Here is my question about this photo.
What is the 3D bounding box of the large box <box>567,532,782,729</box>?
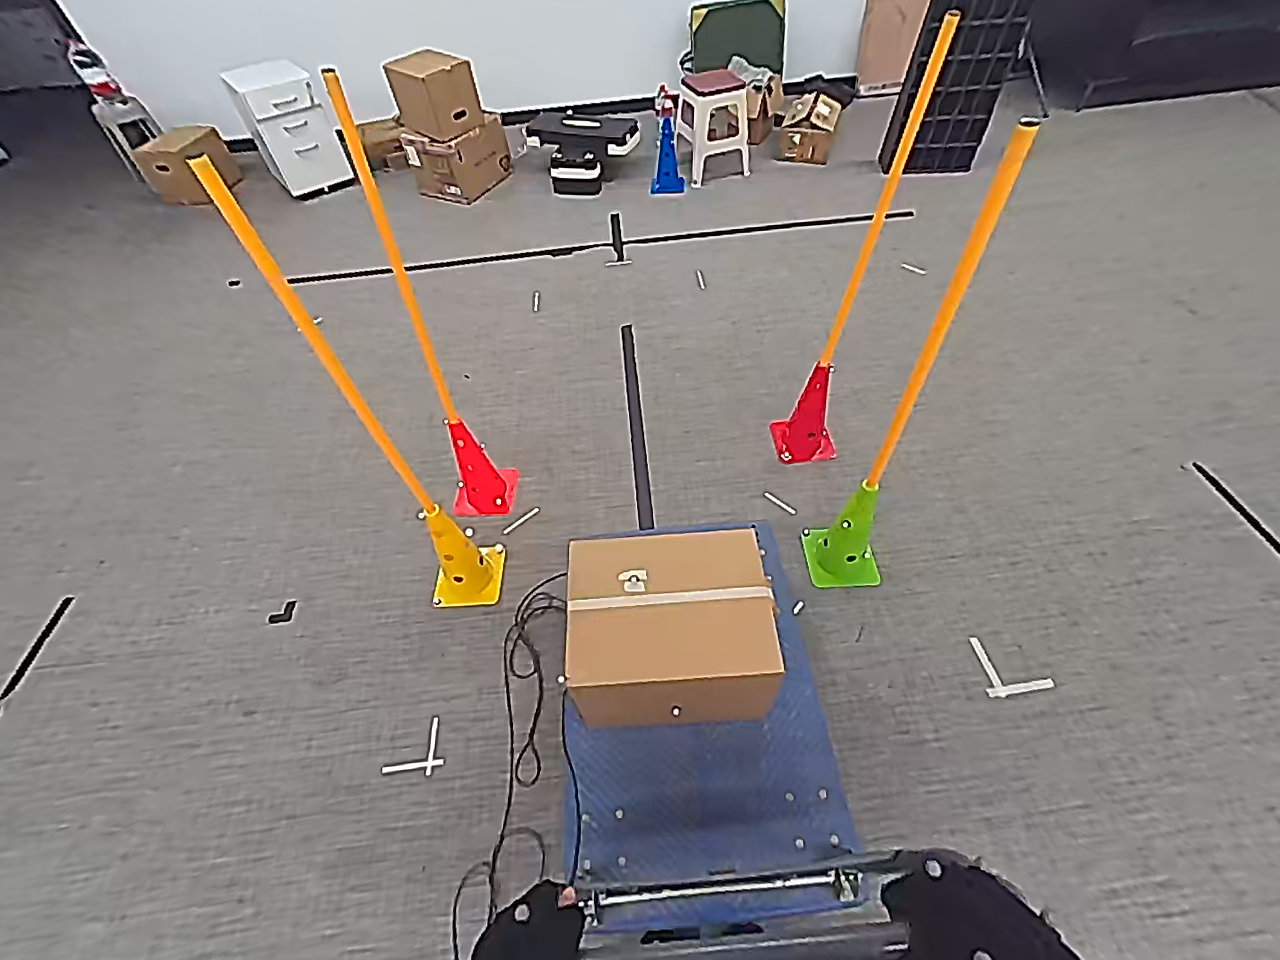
[{"bbox_3d":[0.067,0.342,1.200,0.408,0.320,0.320,-5,51,2],"label":"large box"}]

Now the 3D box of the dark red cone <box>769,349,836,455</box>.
[{"bbox_3d":[0.573,-0.266,1.804,0.201,0.394,0.202,-5,52,-2],"label":"dark red cone"}]

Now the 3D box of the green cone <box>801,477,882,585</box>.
[{"bbox_3d":[0.599,0.123,1.513,0.202,0.368,0.200,-3,51,1],"label":"green cone"}]

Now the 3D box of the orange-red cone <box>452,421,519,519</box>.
[{"bbox_3d":[-0.541,-0.056,1.757,0.198,0.360,0.199,0,50,4],"label":"orange-red cone"}]
